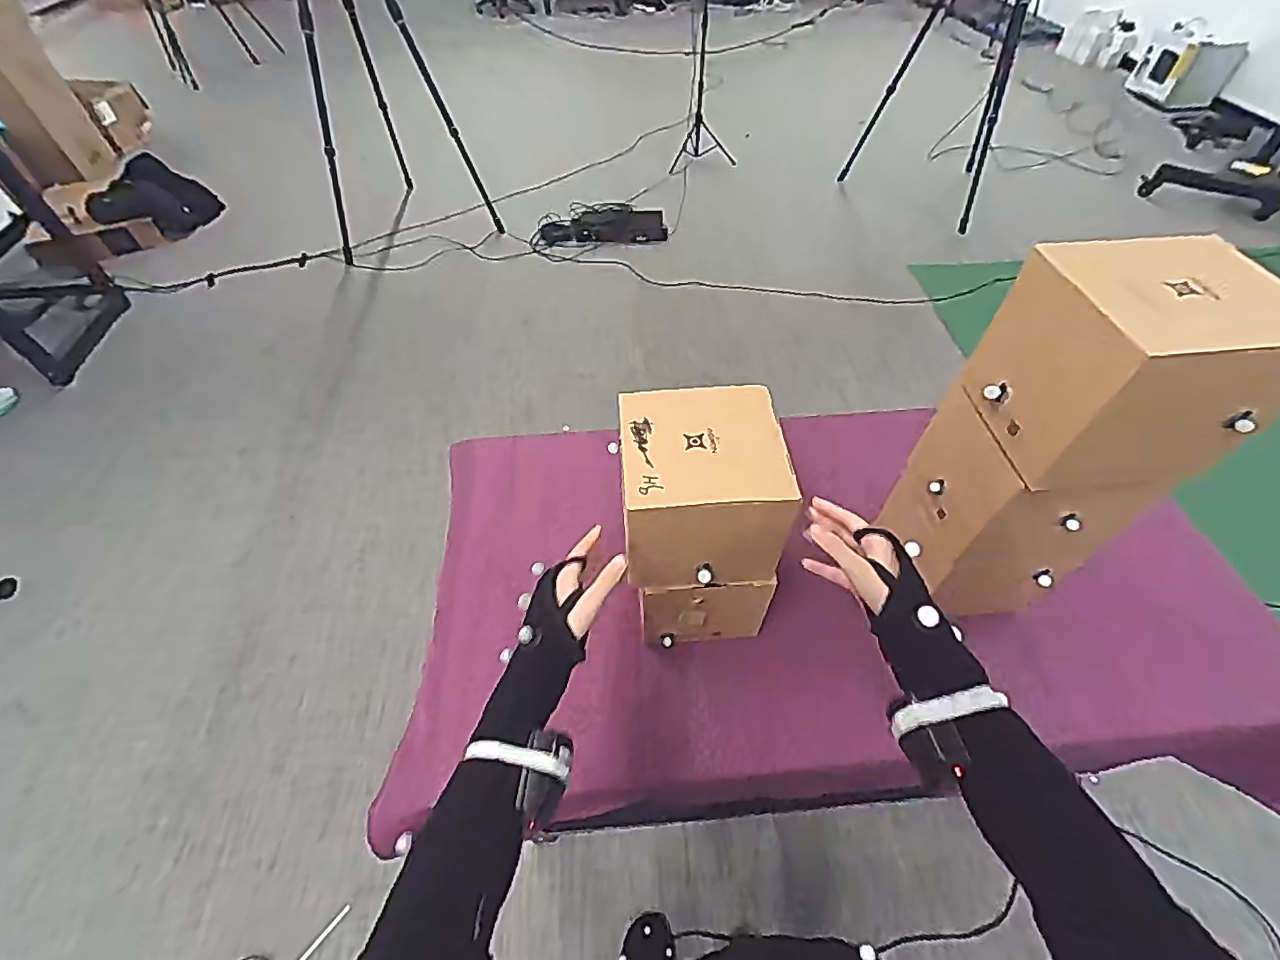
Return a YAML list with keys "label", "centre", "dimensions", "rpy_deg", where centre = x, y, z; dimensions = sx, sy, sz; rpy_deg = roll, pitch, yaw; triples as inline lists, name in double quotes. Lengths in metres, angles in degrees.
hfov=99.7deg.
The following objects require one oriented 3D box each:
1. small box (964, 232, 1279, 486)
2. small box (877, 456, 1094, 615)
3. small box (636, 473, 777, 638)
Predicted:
- label: "small box"
  centre: [0.456, -0.110, 0.512]
  dimensions: [0.179, 0.176, 0.168]
  rpy_deg: [-4, 51, -1]
- label: "small box"
  centre: [0.475, 0.082, 0.778]
  dimensions: [0.179, 0.176, 0.168]
  rpy_deg: [-3, 51, -1]
- label: "small box"
  centre: [0.083, 0.113, 0.766]
  dimensions: [0.168, 0.176, 0.179]
  rpy_deg: [-4, 51, -2]
